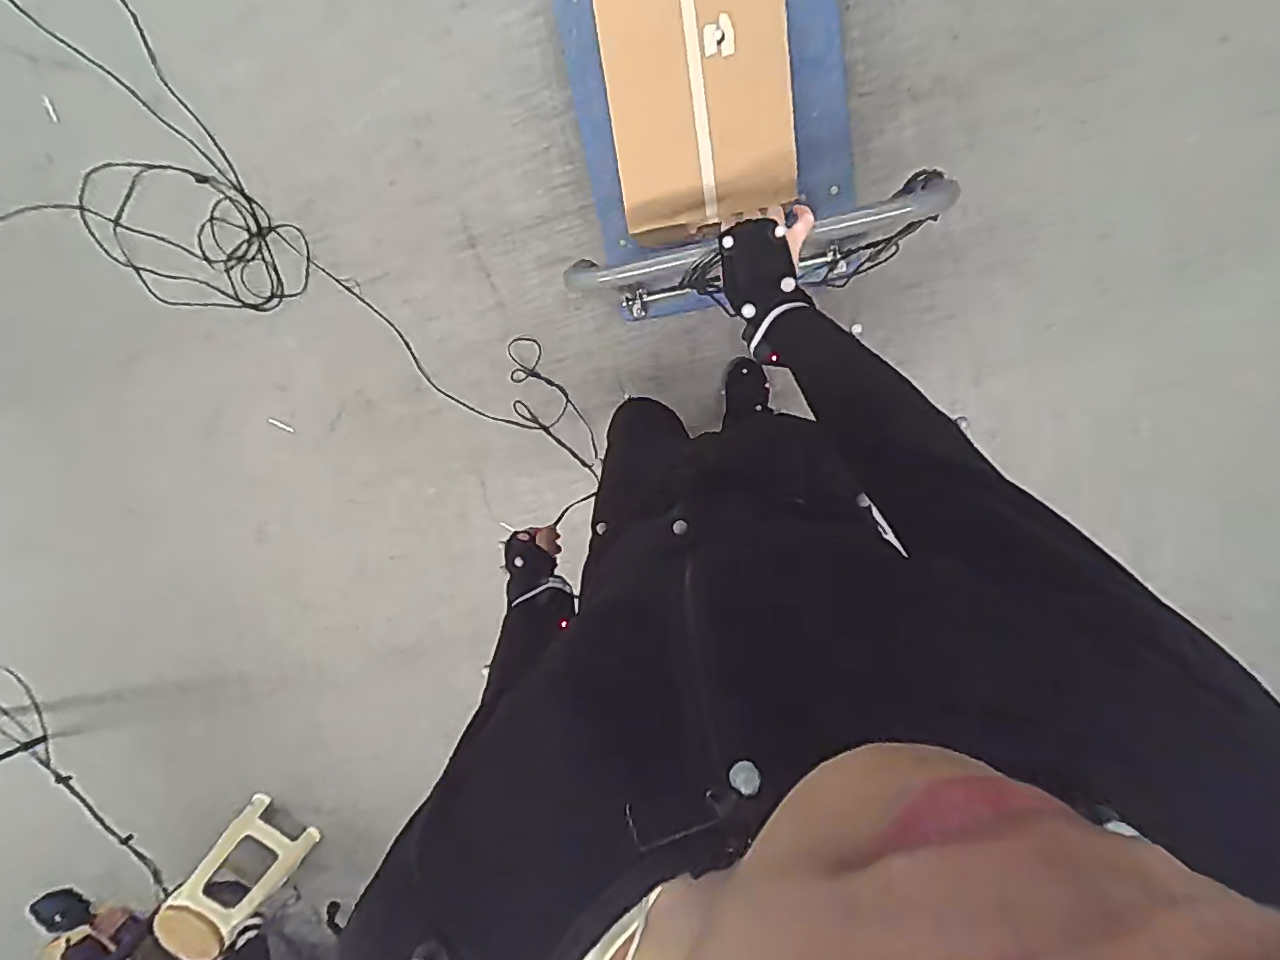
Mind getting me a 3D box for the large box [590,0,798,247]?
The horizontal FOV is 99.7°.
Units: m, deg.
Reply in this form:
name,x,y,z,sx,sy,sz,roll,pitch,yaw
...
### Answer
name,x,y,z,sx,sy,sz,roll,pitch,yaw
large box,0.116,-0.712,1.057,0.320,0.320,0.408,-7,106,10
